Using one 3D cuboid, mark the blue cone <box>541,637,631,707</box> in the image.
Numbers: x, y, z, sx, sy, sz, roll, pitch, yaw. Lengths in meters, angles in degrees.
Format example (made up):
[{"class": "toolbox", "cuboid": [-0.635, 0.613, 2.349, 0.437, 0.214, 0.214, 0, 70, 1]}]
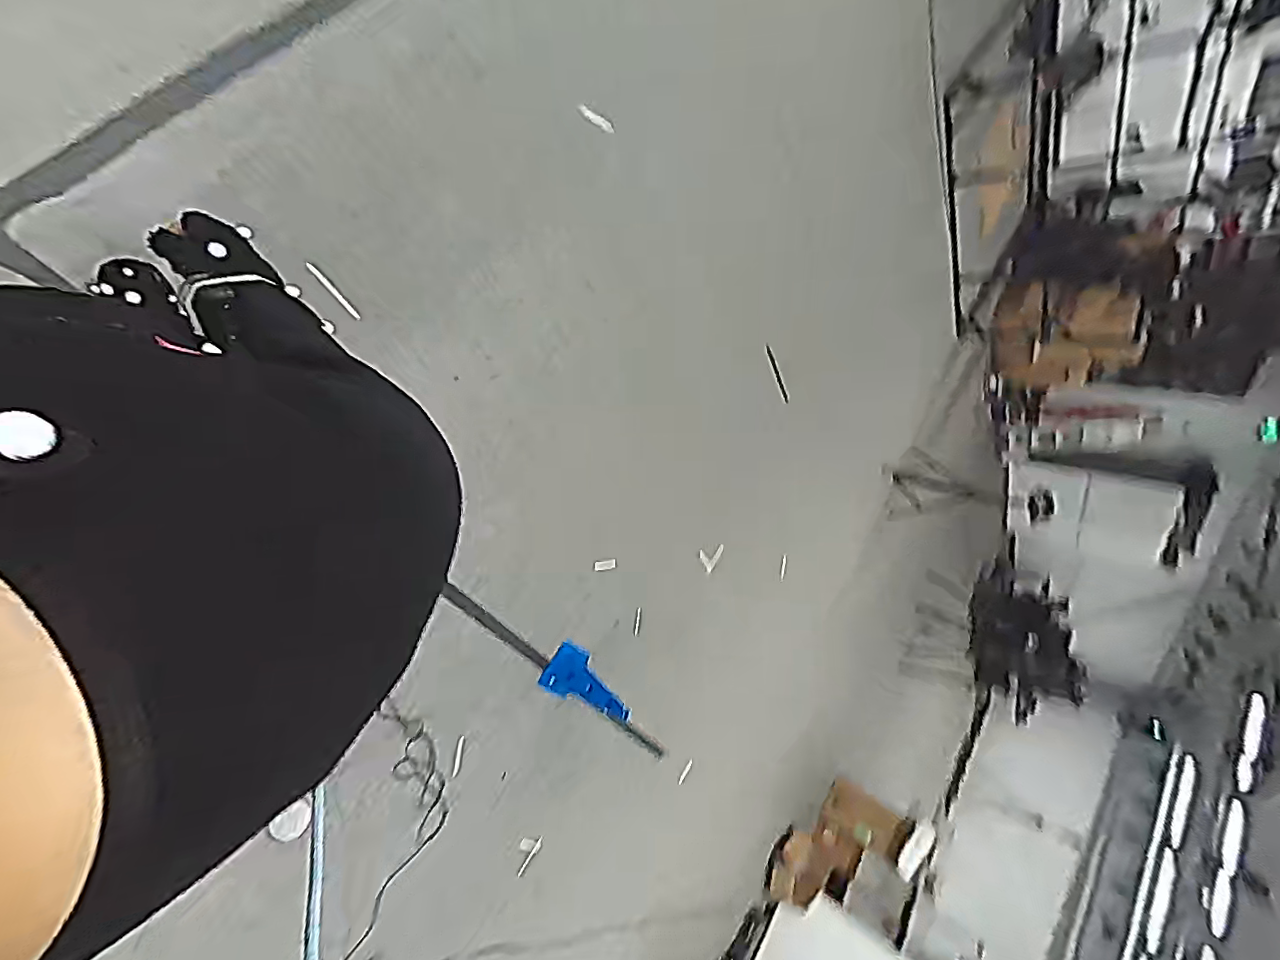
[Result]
[{"class": "blue cone", "cuboid": [-0.184, 0.775, 2.069, 0.192, 0.380, 0.193, -57, 137, -19]}]
